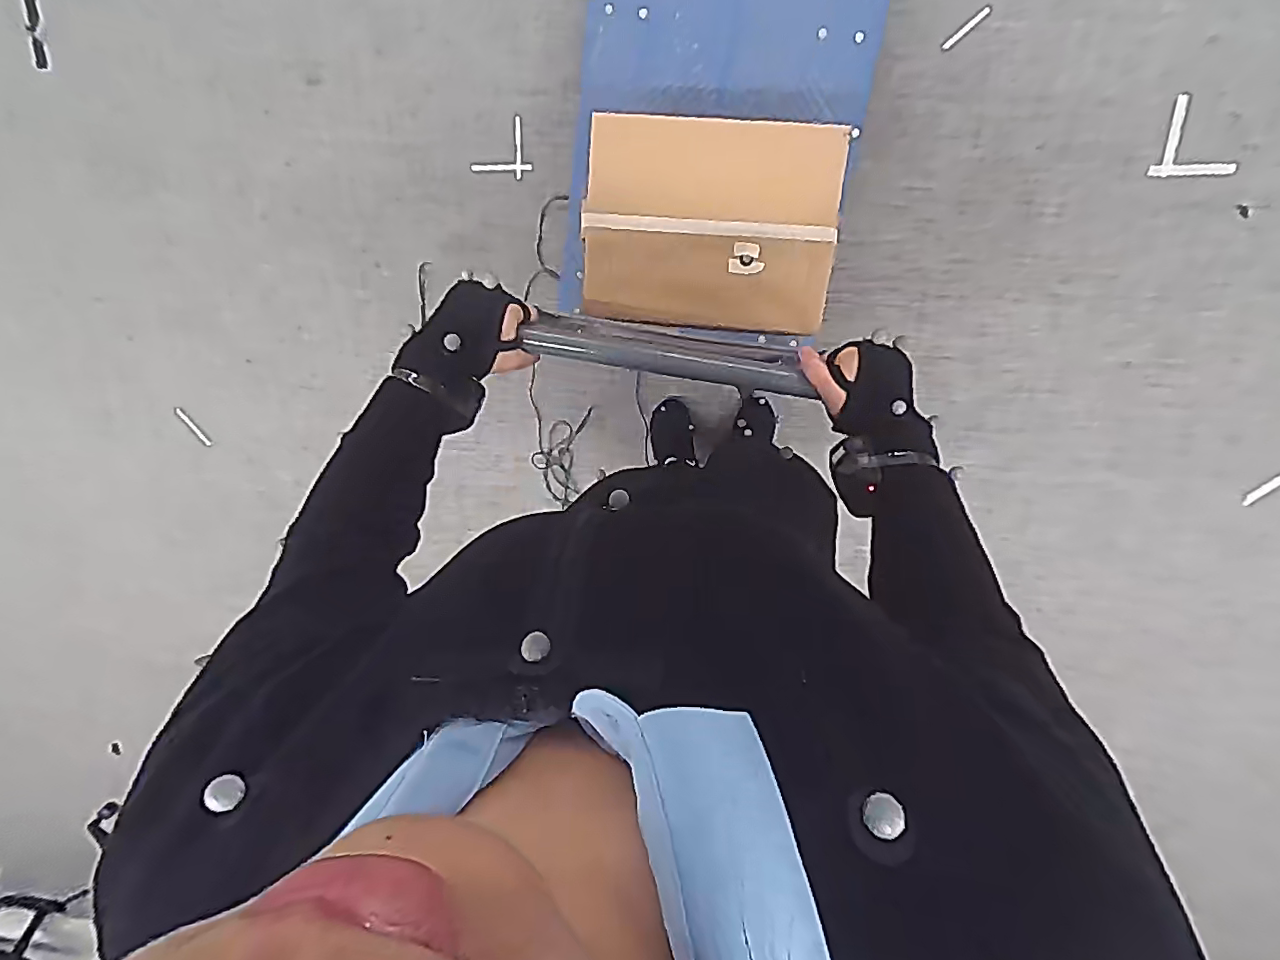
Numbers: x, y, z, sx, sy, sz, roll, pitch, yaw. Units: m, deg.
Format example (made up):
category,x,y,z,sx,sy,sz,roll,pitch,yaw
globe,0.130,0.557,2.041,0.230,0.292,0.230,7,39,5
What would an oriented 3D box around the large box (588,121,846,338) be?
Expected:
category,x,y,z,sx,sy,sz,roll,pitch,yaw
large box,0.125,-0.444,1.032,0.408,0.320,0.320,6,105,3
